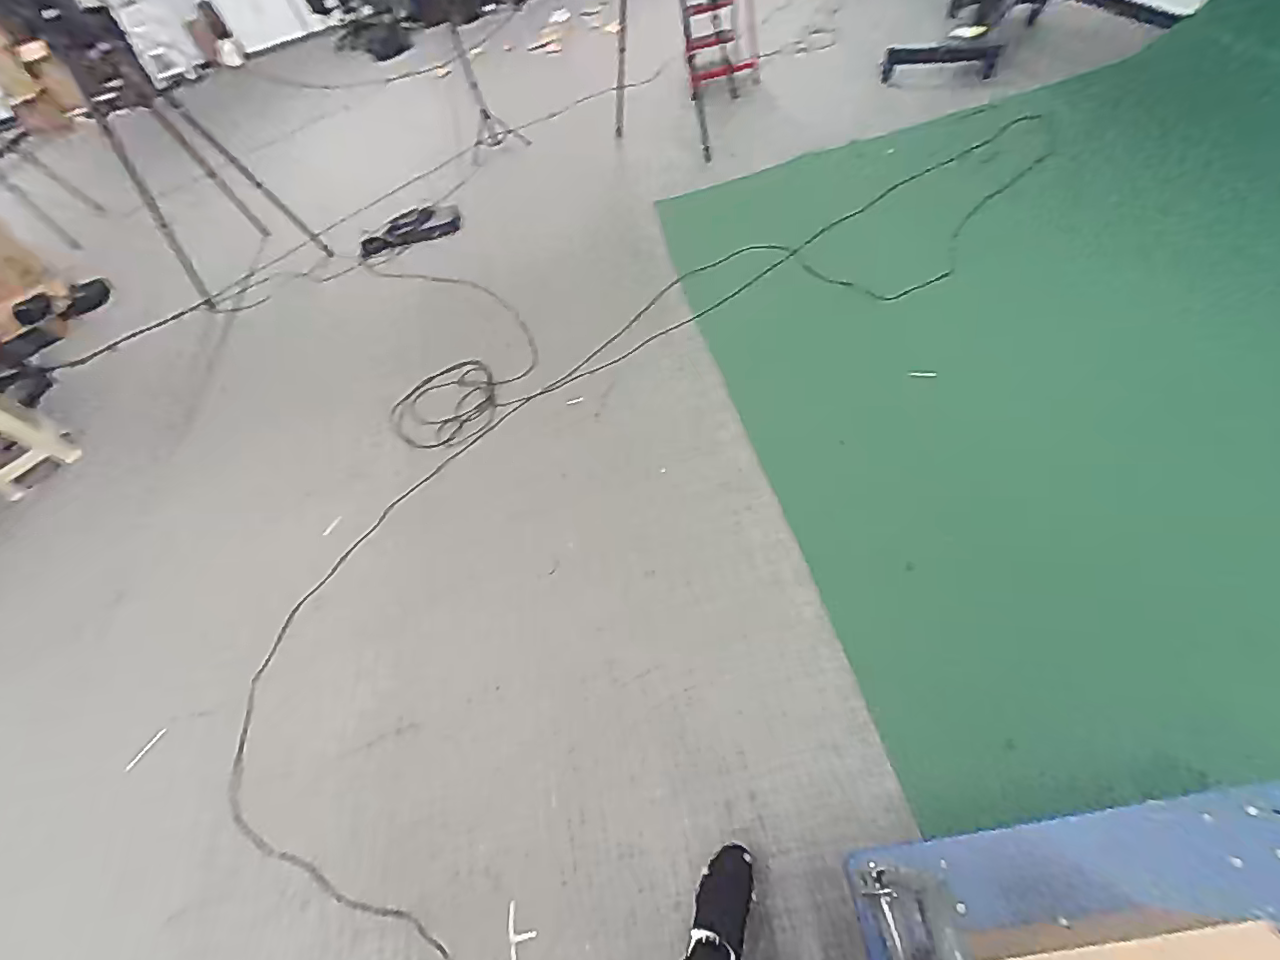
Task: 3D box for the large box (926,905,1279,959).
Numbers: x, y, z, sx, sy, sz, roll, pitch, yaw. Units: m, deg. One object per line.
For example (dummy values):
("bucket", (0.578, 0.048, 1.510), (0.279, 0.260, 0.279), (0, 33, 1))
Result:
("large box", (0.716, 0.852, 0.793), (0.408, 0.320, 0.320), (-12, 54, 4))
